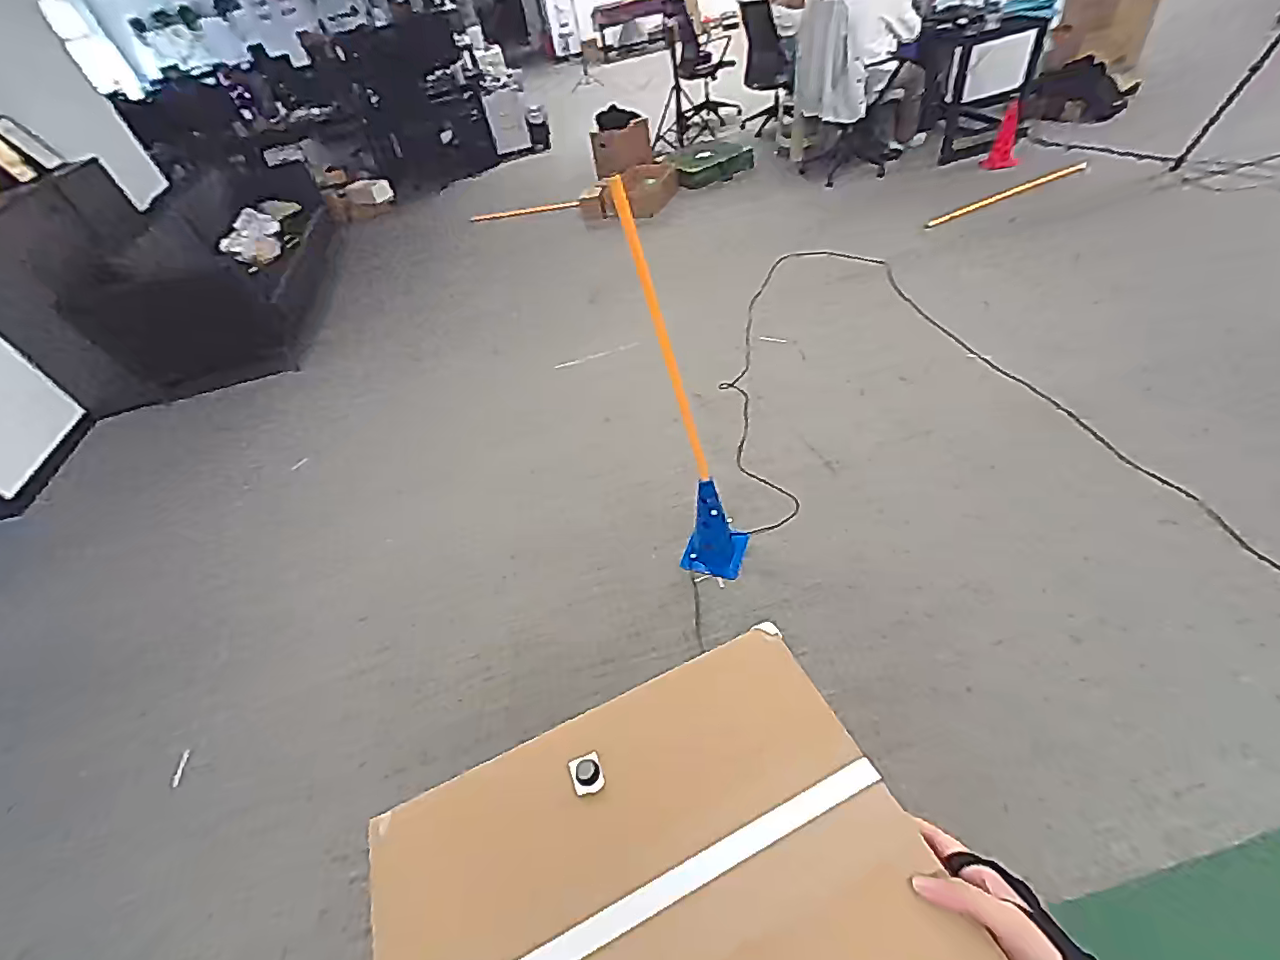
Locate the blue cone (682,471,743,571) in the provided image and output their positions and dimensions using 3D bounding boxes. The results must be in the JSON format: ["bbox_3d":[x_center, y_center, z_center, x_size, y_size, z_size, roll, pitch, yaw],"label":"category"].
[{"bbox_3d":[0.218,0.113,1.725,0.192,0.380,0.193,7,49,21],"label":"blue cone"}]
